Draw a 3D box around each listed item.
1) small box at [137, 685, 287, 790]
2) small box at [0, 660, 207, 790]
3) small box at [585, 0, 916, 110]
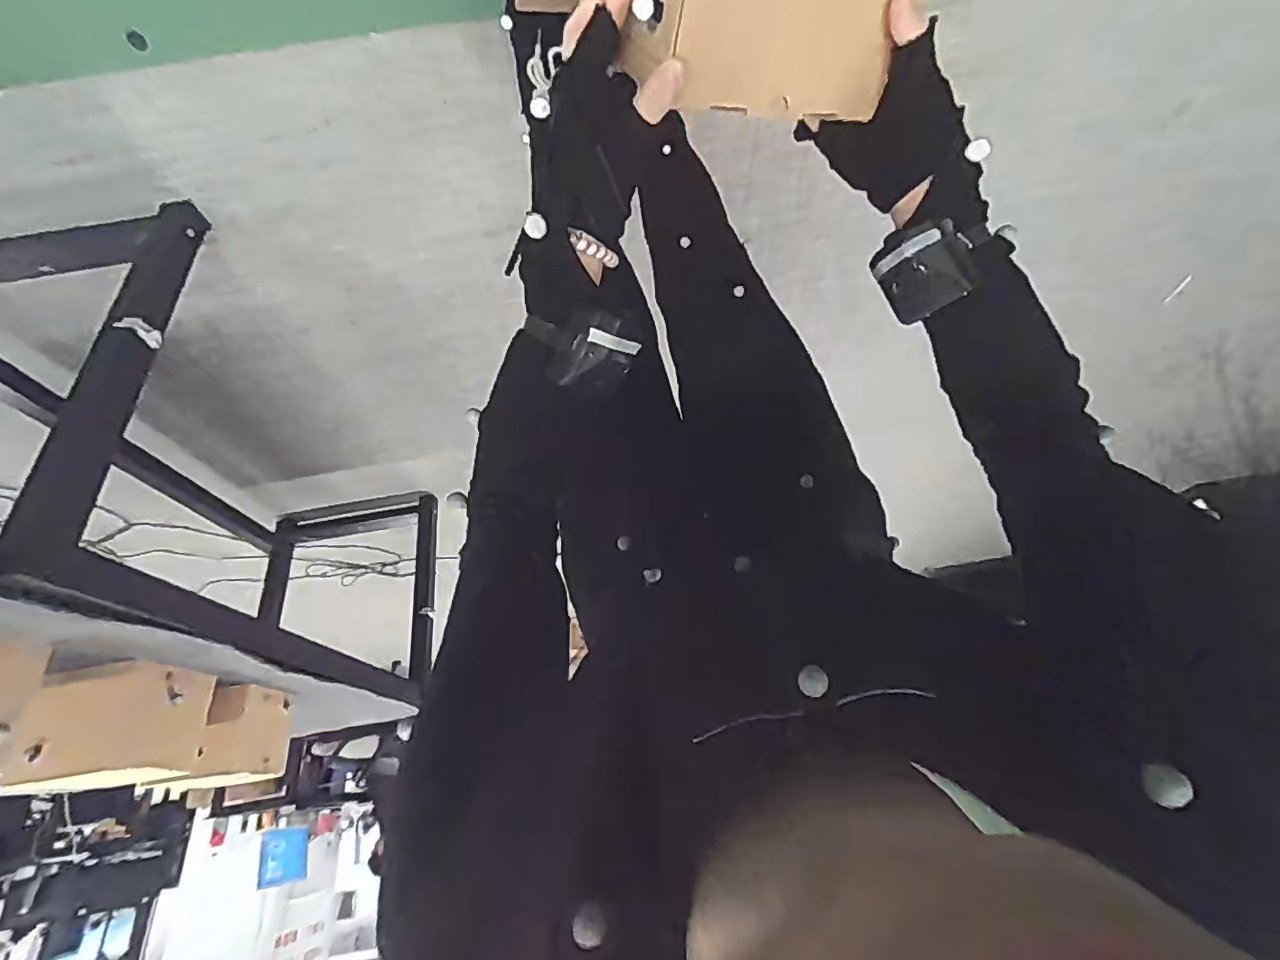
[{"bbox_3d":[-0.866,0.532,1.120,0.179,0.176,0.168,-8,150,-1],"label":"small box"},{"bbox_3d":[-0.886,0.414,0.909,0.179,0.176,0.168,-10,151,0],"label":"small box"},{"bbox_3d":[0.071,-0.359,0.331,0.168,0.176,0.179,-14,146,-21],"label":"small box"}]
